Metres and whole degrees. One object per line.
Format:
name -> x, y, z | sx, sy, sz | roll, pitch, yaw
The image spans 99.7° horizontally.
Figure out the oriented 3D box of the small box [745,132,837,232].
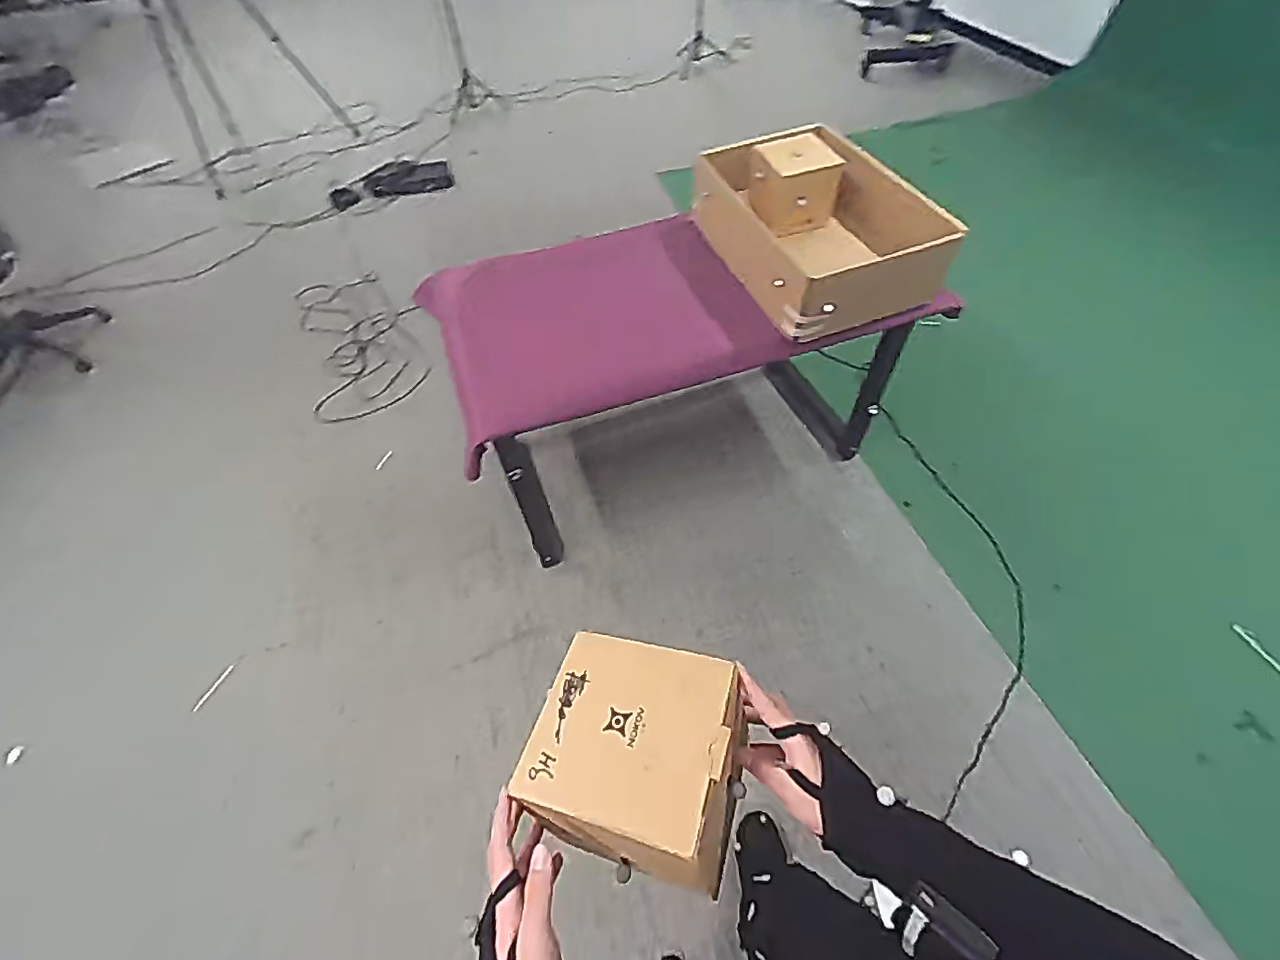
small box -> 0.391, -0.781, 1.433 | 0.168, 0.176, 0.179 | -17, 56, -7
